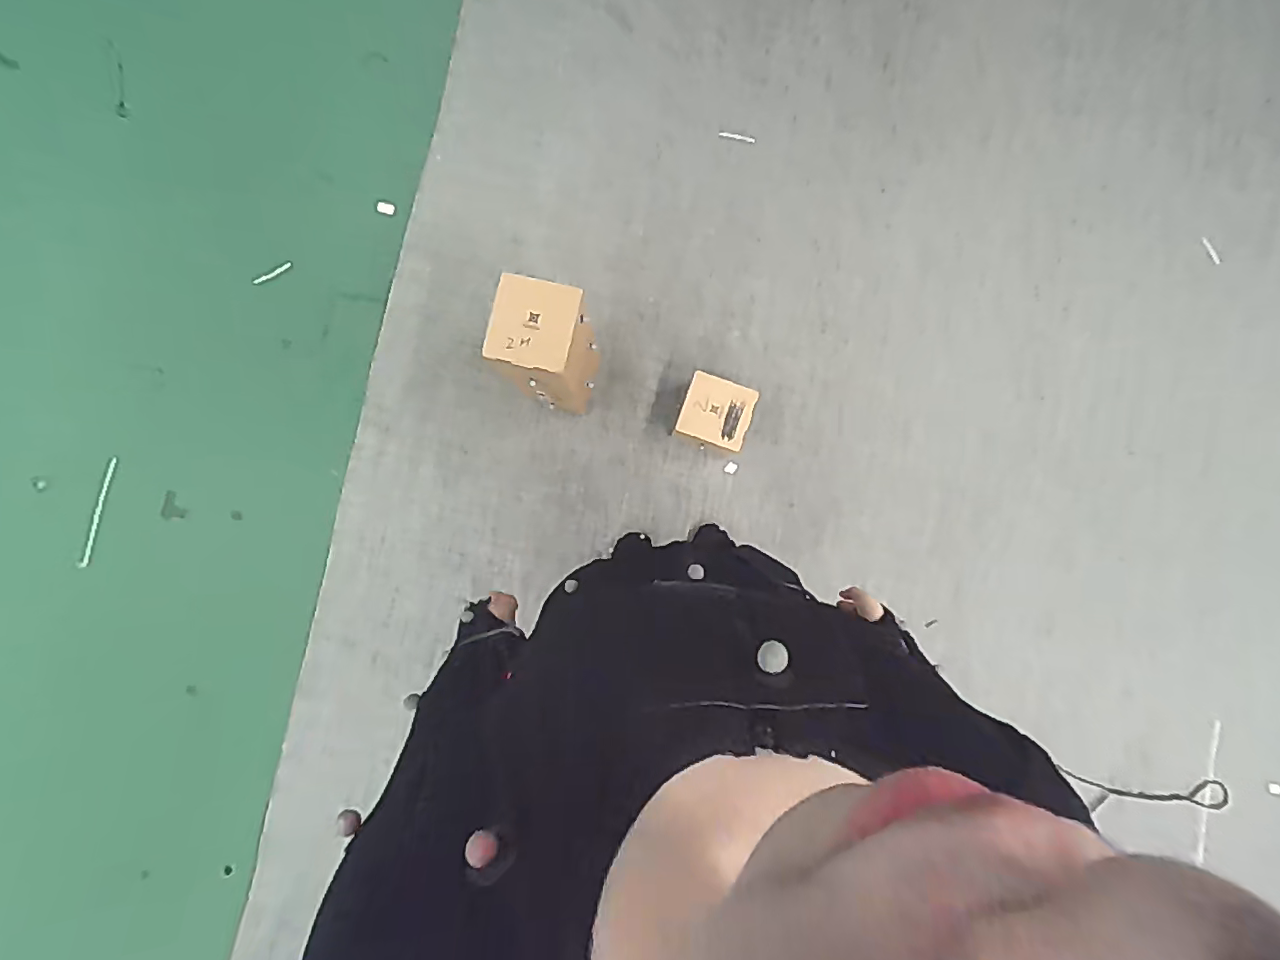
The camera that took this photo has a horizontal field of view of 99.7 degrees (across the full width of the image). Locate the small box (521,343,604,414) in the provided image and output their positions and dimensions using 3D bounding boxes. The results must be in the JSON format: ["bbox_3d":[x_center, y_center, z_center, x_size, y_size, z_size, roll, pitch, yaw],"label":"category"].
[{"bbox_3d":[-0.199,-0.288,1.447,0.168,0.176,0.179,16,88,1],"label":"small box"}]

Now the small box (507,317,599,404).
[{"bbox_3d":[-0.198,-0.294,1.284,0.168,0.176,0.179,13,88,2],"label":"small box"}]

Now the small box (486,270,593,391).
[{"bbox_3d":[-0.198,-0.300,1.119,0.168,0.176,0.179,13,87,3],"label":"small box"}]
